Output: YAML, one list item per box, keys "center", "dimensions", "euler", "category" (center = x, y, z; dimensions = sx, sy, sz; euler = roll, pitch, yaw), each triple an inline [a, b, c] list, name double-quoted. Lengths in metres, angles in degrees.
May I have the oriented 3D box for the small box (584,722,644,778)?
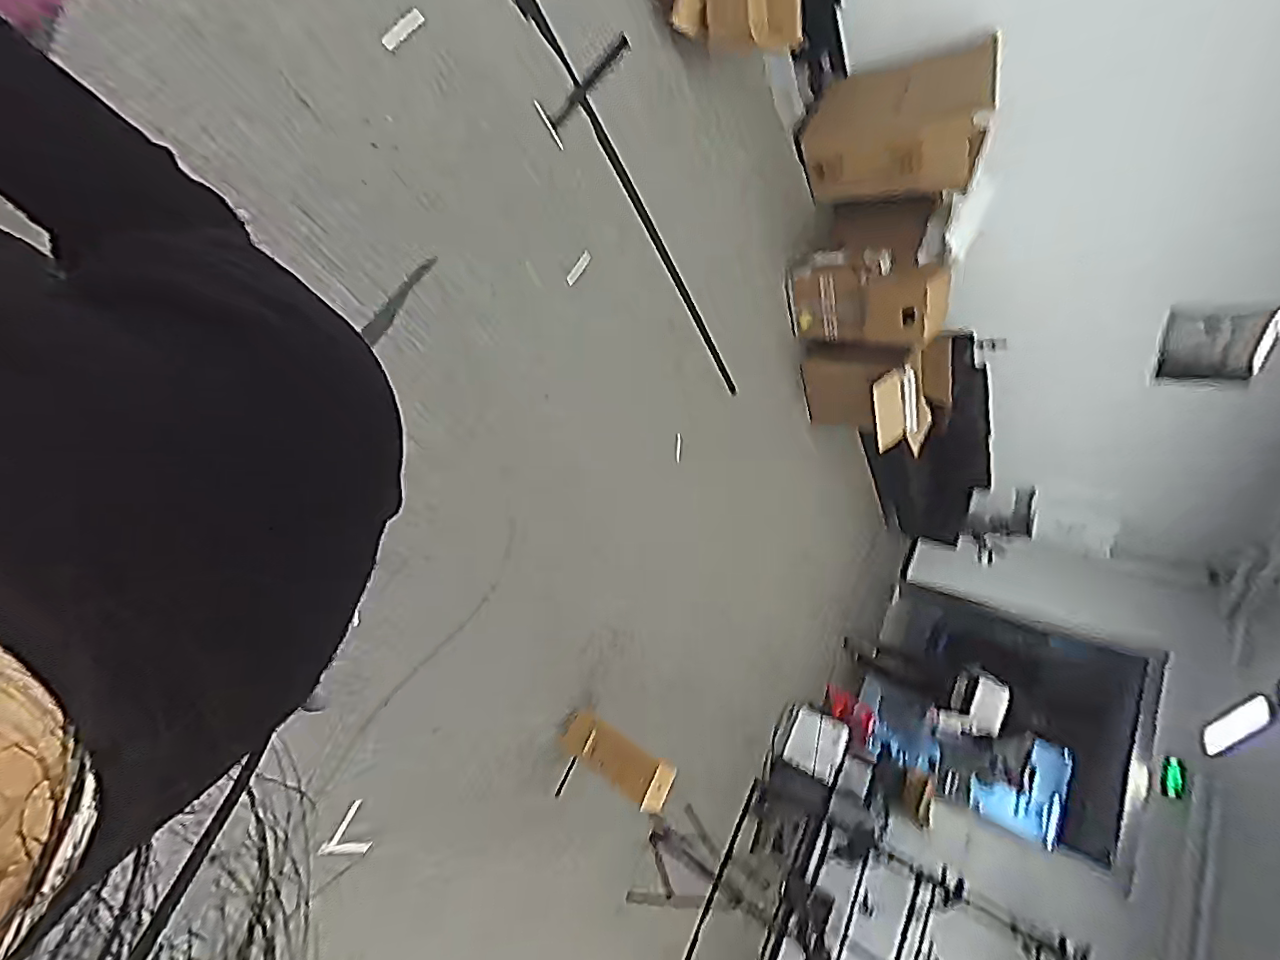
- center: [-0.108, 1.158, 2.311]
  dimensions: [0.179, 0.176, 0.168]
  euler: [46, 66, -48]
  category: "small box"

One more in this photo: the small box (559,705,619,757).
- center: [-0.230, 1.126, 2.413]
  dimensions: [0.179, 0.176, 0.168]
  euler: [46, 65, -47]
  category: "small box"

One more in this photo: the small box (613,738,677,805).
- center: [0.015, 1.192, 2.210]
  dimensions: [0.168, 0.176, 0.179]
  euler: [44, 67, -46]
  category: "small box"
